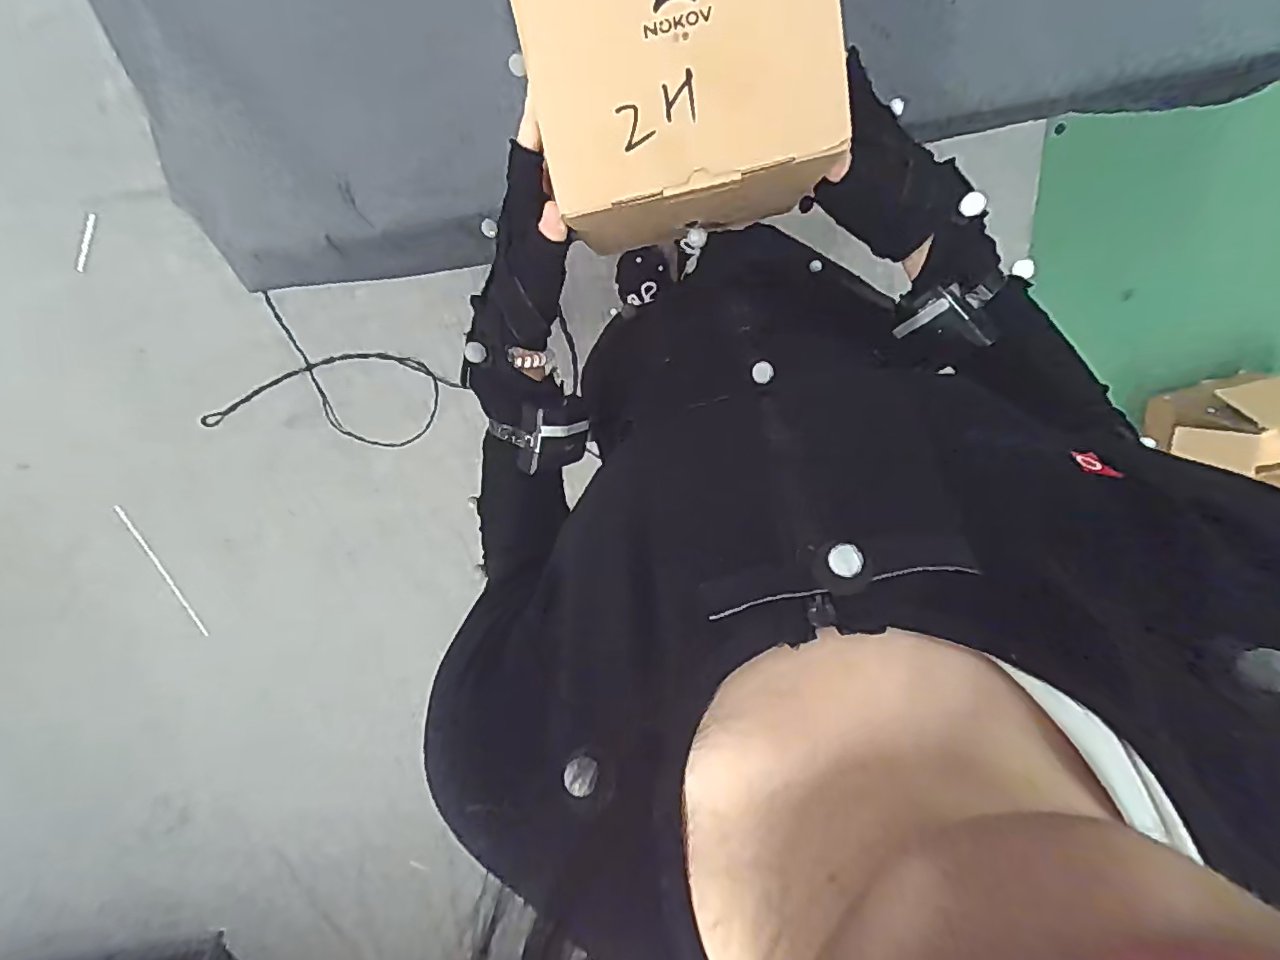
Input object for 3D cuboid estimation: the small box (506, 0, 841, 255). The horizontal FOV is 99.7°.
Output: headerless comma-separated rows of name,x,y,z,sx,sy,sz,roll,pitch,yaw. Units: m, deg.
small box,0.018,-0.265,0.356,0.168,0.176,0.179,-11,105,7
